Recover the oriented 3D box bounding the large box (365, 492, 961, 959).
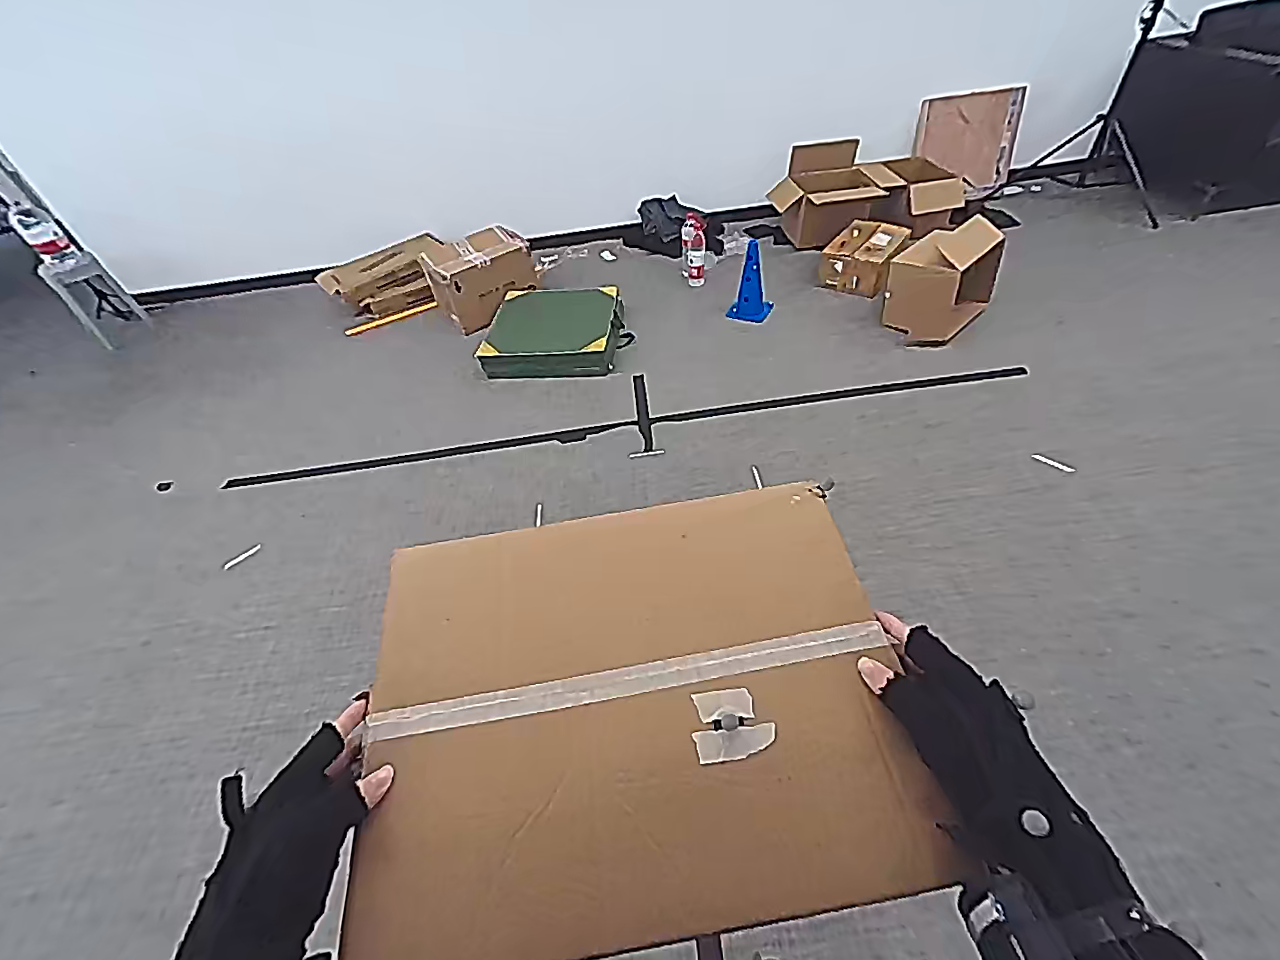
[{"bbox_3d":[0.005,0.254,0.554,0.408,0.320,0.320,-9,53,-2],"label":"large box"}]
